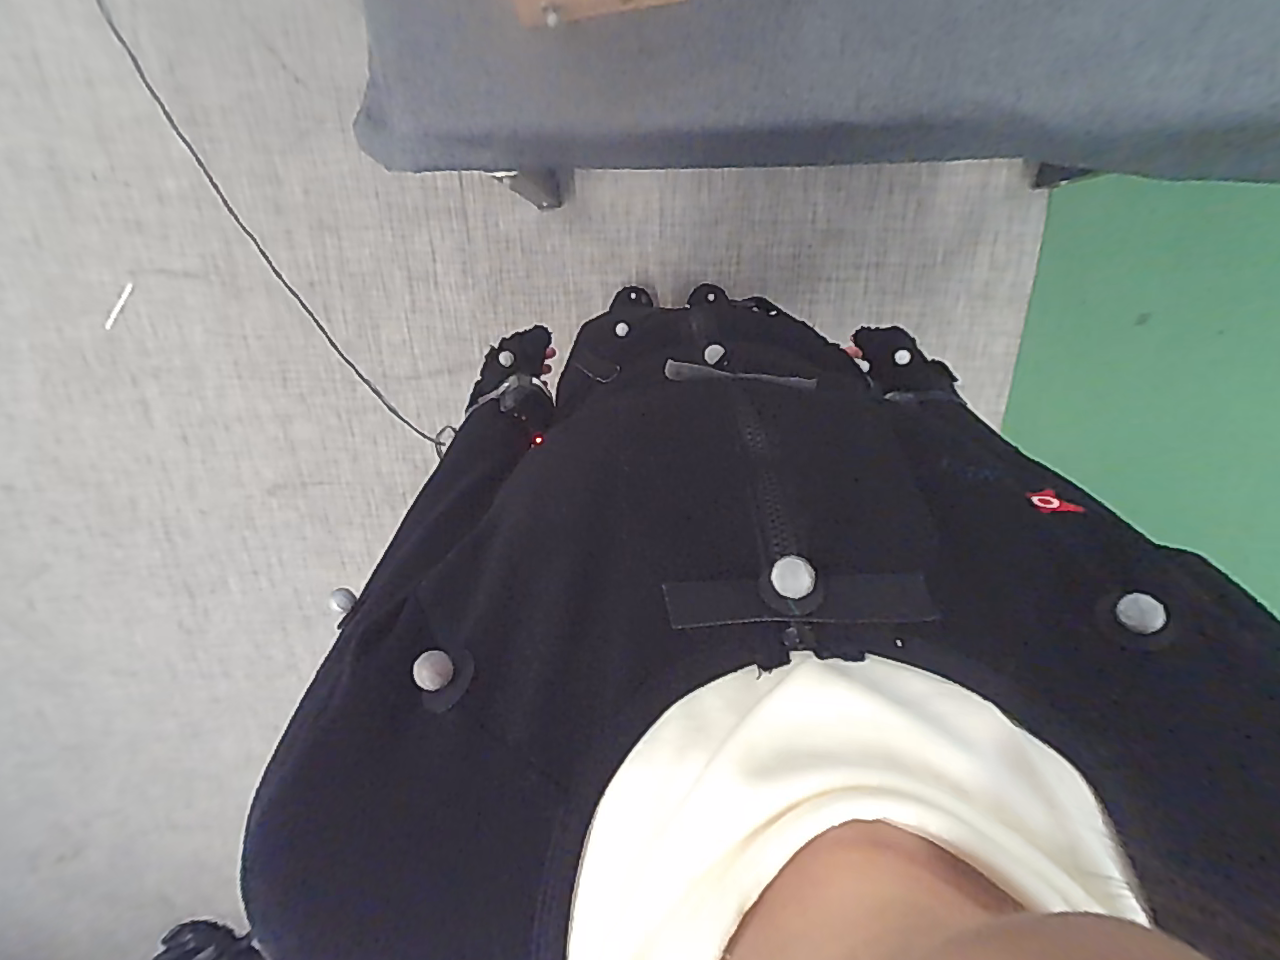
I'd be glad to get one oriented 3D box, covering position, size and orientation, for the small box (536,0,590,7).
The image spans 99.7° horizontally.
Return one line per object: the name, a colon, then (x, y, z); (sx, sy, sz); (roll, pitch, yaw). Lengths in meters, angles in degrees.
small box: (-0.042, -0.519, 0.428); (0.168, 0.176, 0.179); (-7, 108, 3)
